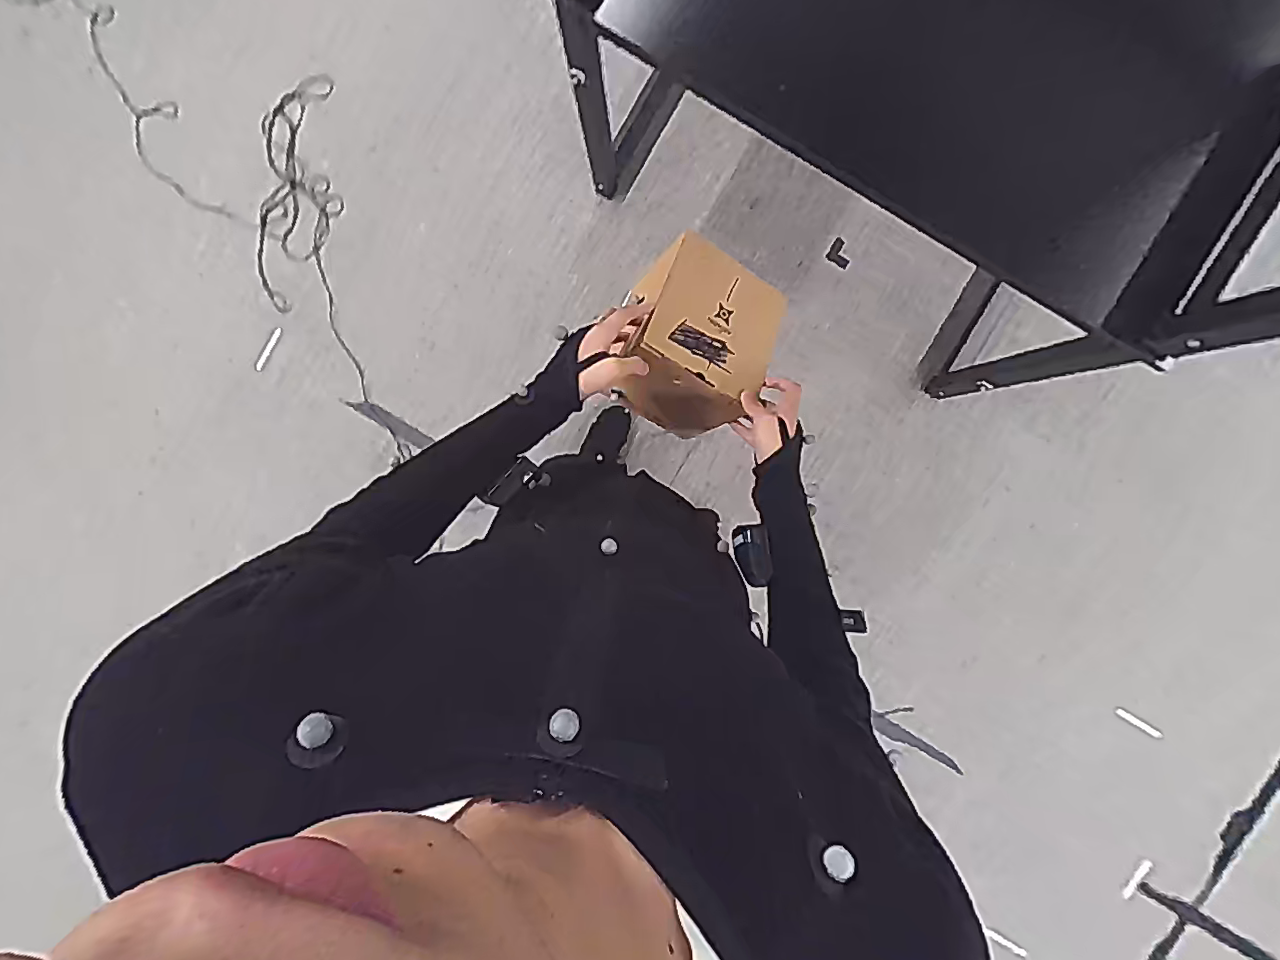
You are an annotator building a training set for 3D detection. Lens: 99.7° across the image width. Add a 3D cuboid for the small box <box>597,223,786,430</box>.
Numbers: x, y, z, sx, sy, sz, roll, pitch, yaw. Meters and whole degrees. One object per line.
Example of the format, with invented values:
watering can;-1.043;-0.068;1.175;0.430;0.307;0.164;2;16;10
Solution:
small box;0.059;-0.187;0.720;0.168;0.176;0.179;27;71;-19
